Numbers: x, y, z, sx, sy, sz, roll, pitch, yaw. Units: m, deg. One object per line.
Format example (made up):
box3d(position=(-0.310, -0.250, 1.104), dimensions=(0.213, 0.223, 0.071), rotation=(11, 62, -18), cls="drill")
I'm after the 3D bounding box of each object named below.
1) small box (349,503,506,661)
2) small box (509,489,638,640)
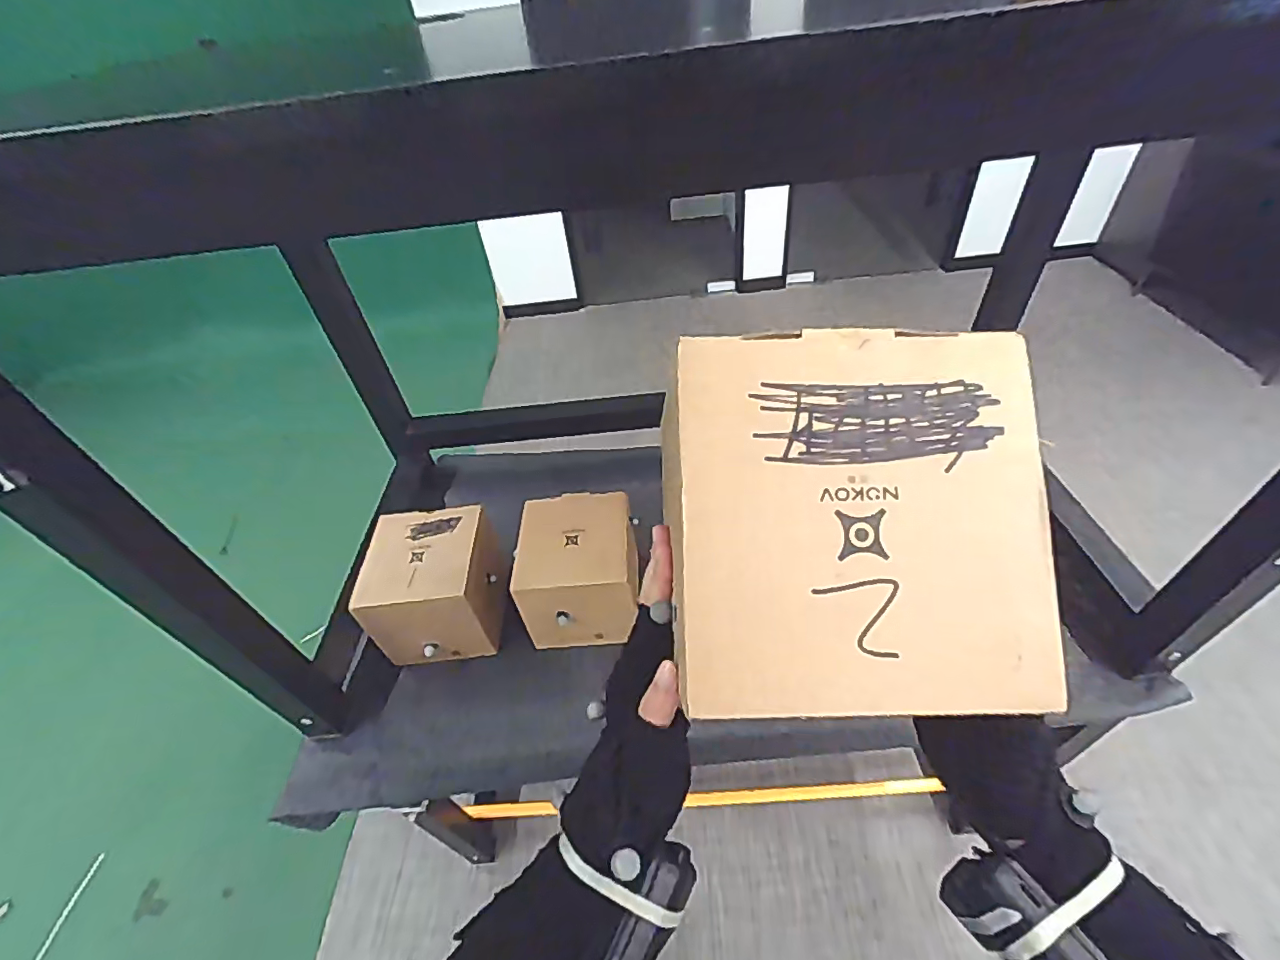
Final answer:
box3d(position=(-0.318, 0.161, 0.857), dimensions=(0.168, 0.176, 0.179), rotation=(-7, 44, 1), cls="small box")
box3d(position=(-0.093, 0.138, 0.852), dimensions=(0.168, 0.176, 0.179), rotation=(-5, 43, 3), cls="small box")
